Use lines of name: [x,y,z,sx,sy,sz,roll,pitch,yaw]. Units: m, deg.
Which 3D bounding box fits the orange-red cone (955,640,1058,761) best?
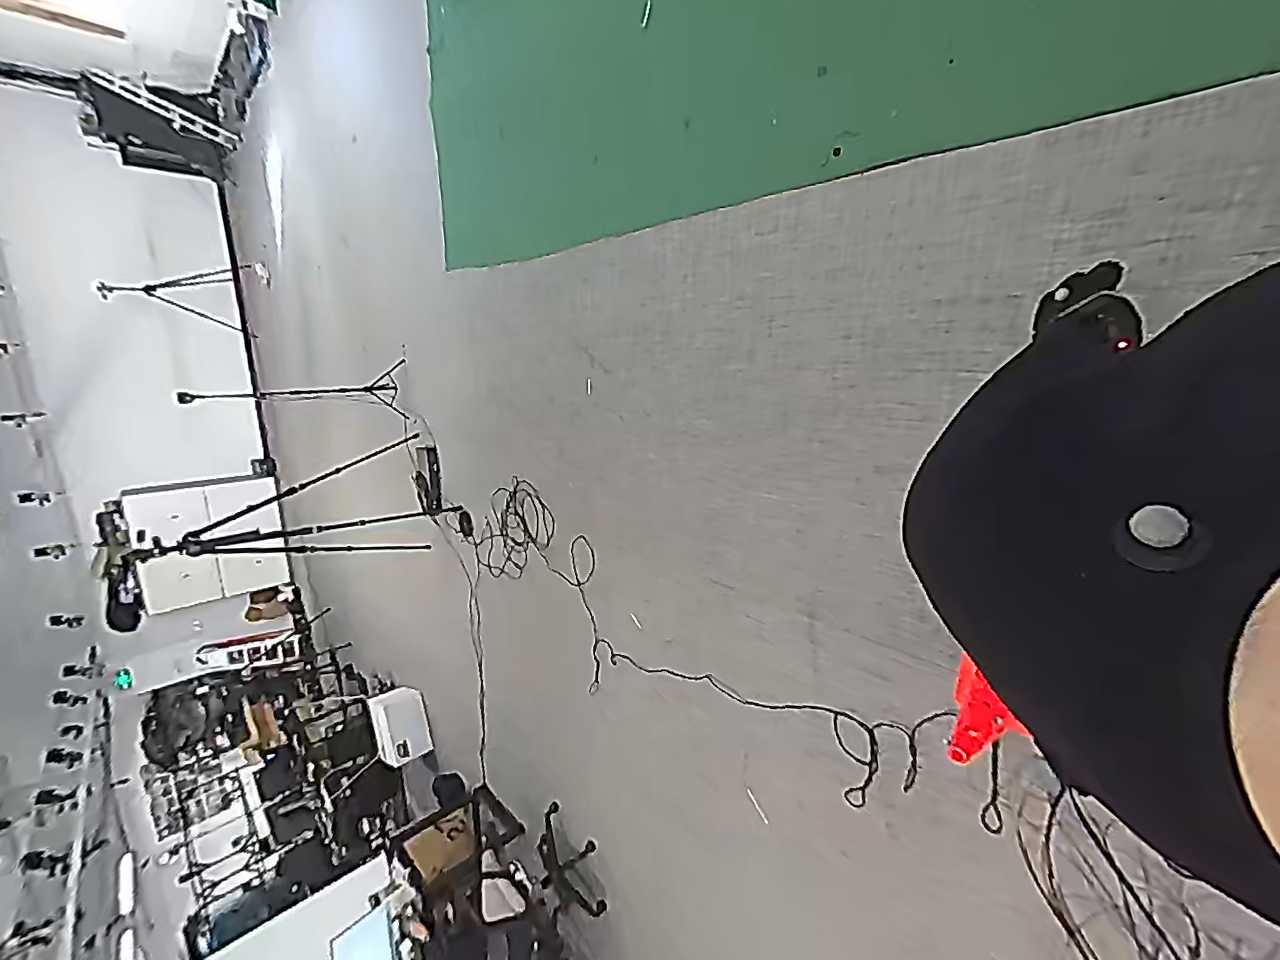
orange-red cone: [0.823,0.558,1.283,0.198,0.360,0.199,19,112,43]
